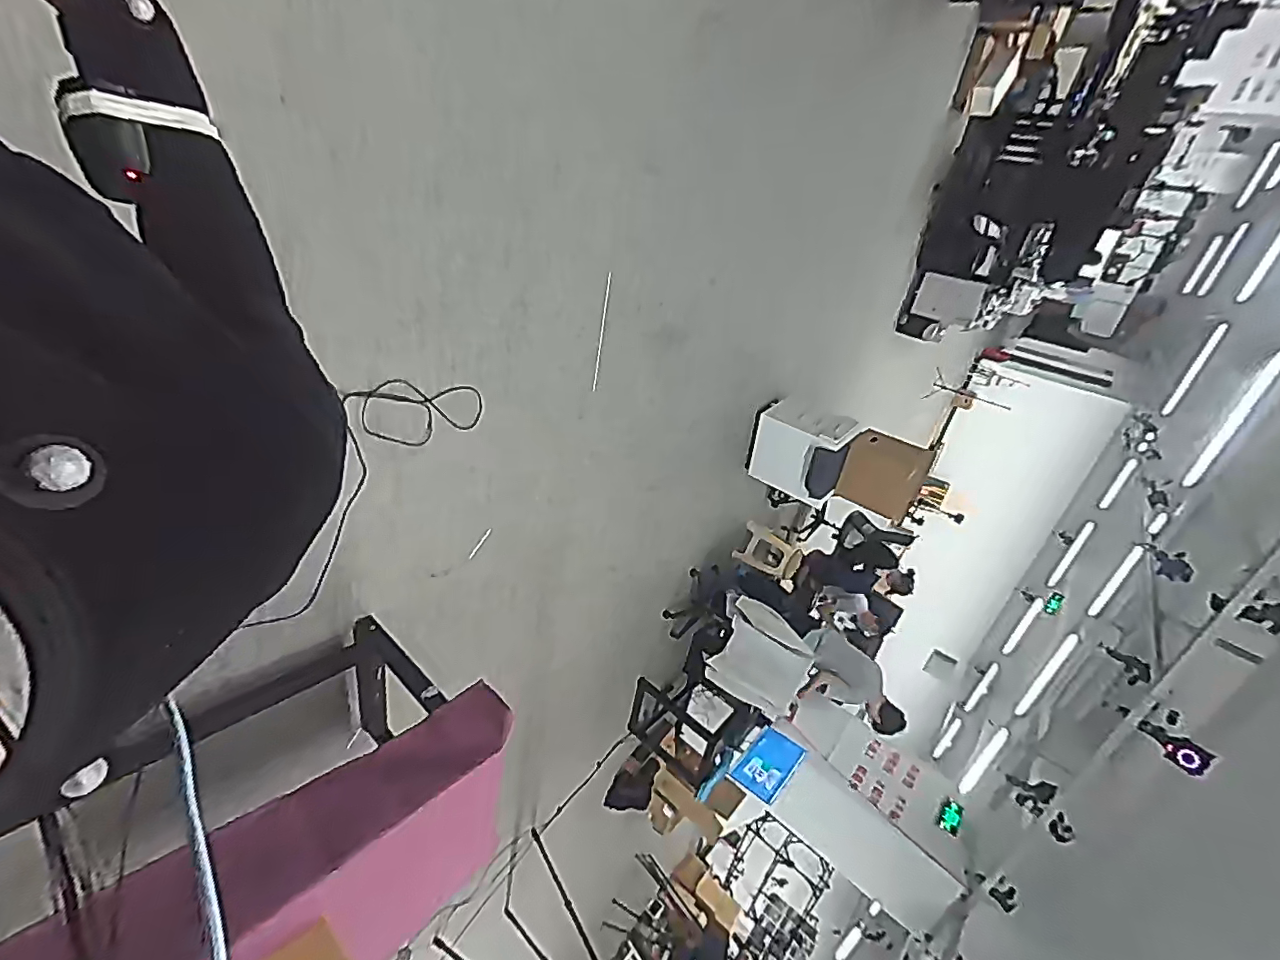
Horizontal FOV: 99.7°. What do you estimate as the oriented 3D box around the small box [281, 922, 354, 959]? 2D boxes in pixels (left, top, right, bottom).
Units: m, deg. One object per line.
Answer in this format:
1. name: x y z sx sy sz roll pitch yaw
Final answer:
1. small box: -0.717 1.132 1.178 0.179 0.176 0.168 -19 130 -46
